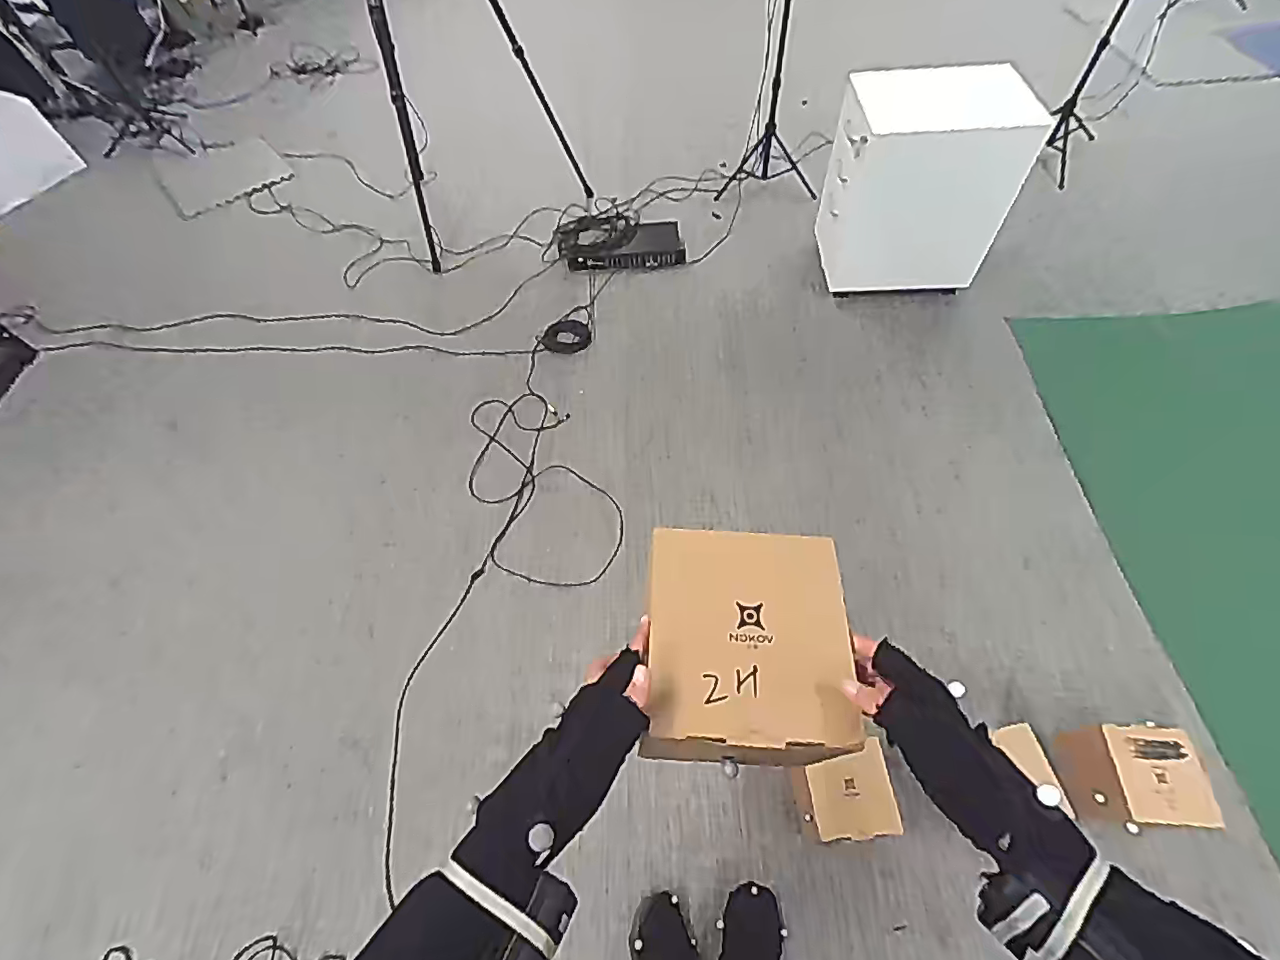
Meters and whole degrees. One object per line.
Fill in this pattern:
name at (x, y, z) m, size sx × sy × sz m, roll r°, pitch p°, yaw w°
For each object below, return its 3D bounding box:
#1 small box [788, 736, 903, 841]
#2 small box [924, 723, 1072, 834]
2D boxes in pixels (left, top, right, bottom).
small box at (0.423, 0.656, 1.148) m, size 0.168 × 0.176 × 0.179 m, roll -6°, pitch 58°, yaw 1°
small box at (0.739, 0.631, 1.141) m, size 0.168 × 0.176 × 0.179 m, roll -9°, pitch 57°, yaw -2°
